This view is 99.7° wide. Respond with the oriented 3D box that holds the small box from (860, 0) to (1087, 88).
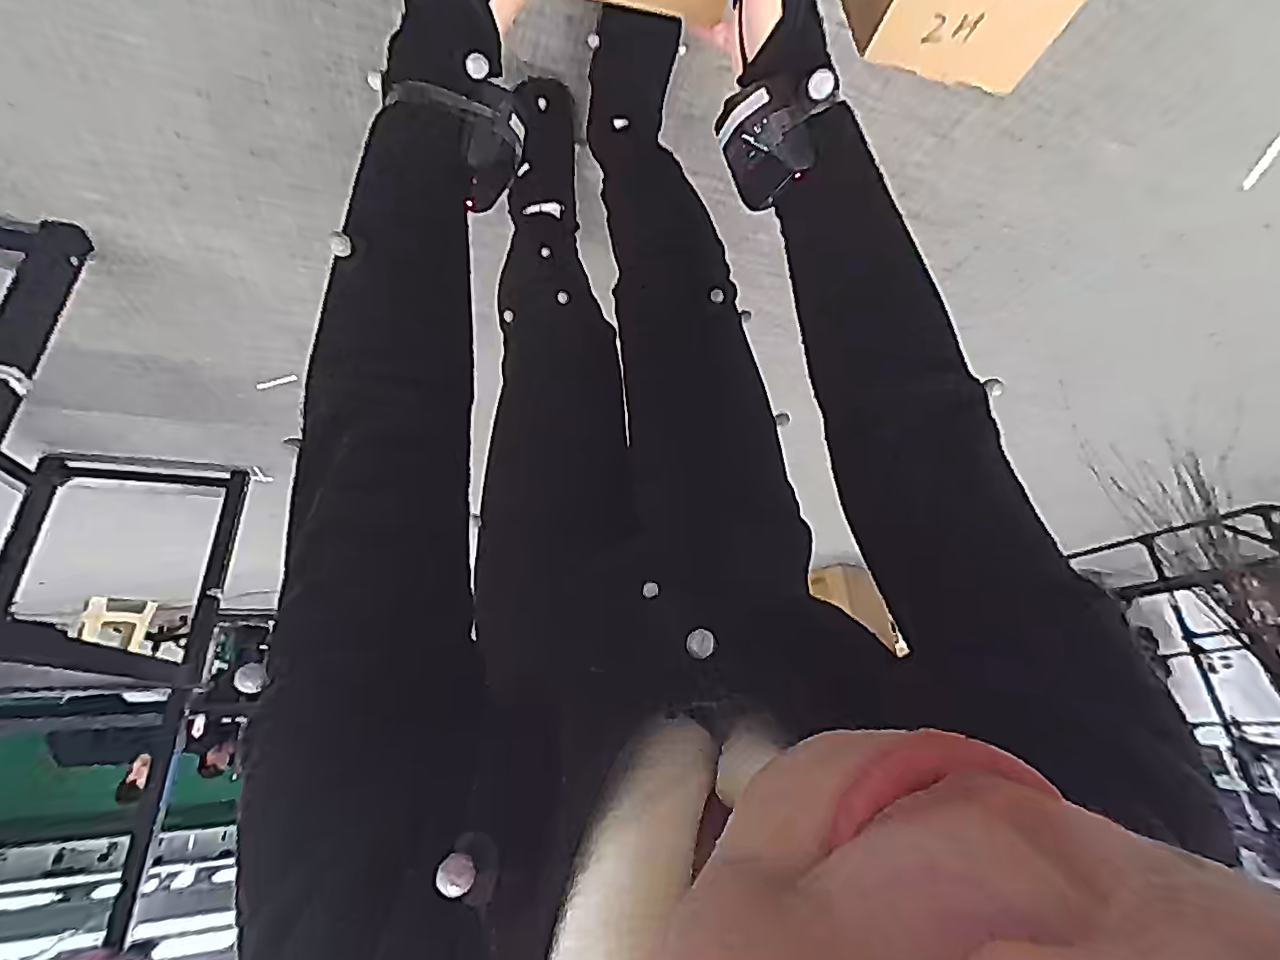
[{"bbox_3d":[0.292,-0.484,0.450,0.168,0.176,0.179,3,157,-14],"label":"small box"}]
